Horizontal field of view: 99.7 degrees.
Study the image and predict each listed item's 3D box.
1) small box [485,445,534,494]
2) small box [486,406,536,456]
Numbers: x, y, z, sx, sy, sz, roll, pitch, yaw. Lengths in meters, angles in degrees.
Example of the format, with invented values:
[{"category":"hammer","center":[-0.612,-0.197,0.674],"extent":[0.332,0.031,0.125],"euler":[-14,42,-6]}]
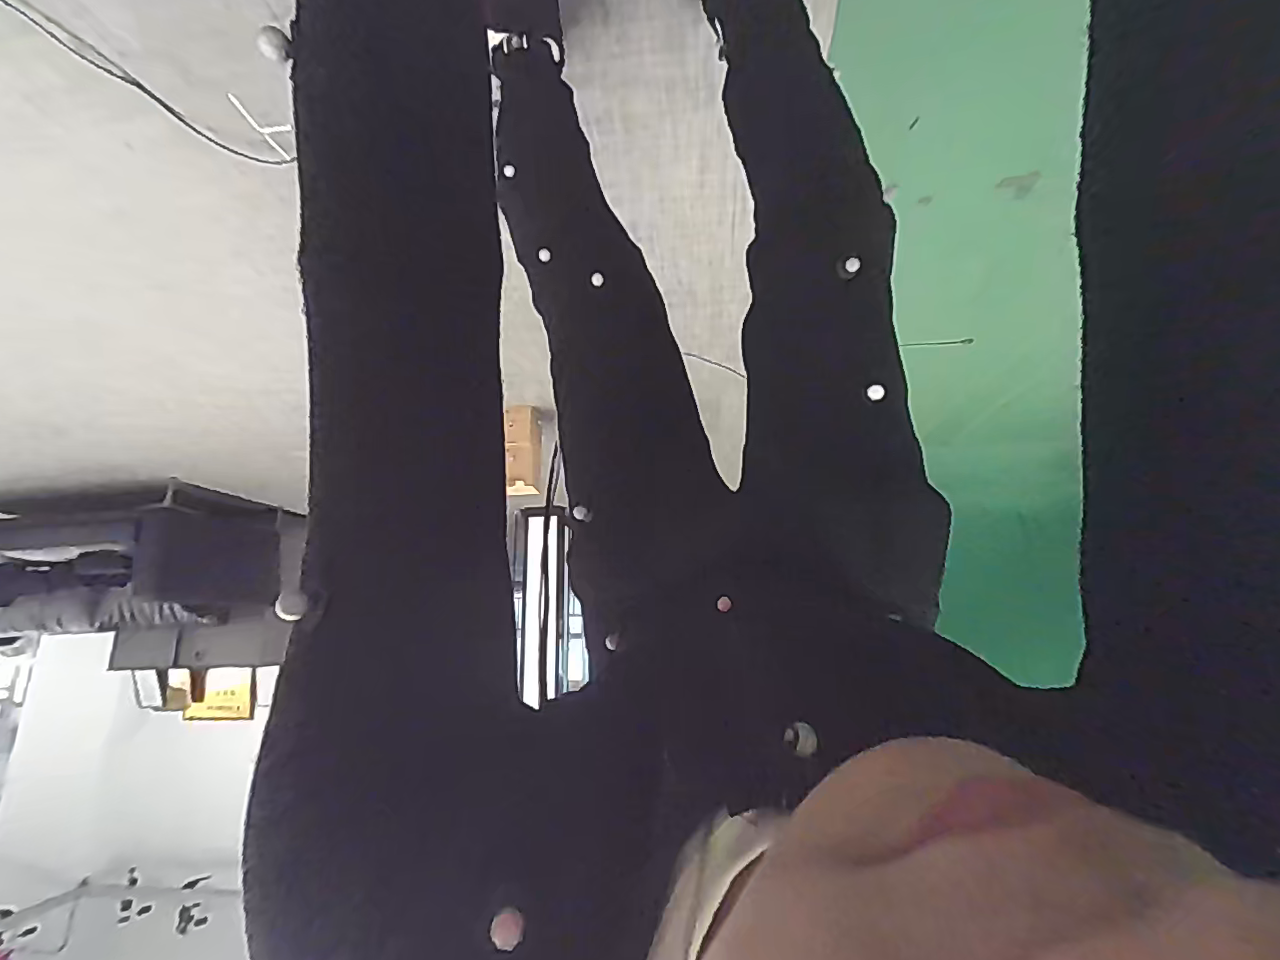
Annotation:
[{"category":"small box","center":[-0.534,-0.041,2.232],"extent":[0.168,0.176,0.179],"euler":[-2,165,0]},{"category":"small box","center":[-0.538,-0.204,2.265],"extent":[0.168,0.176,0.179],"euler":[-2,164,4]}]
